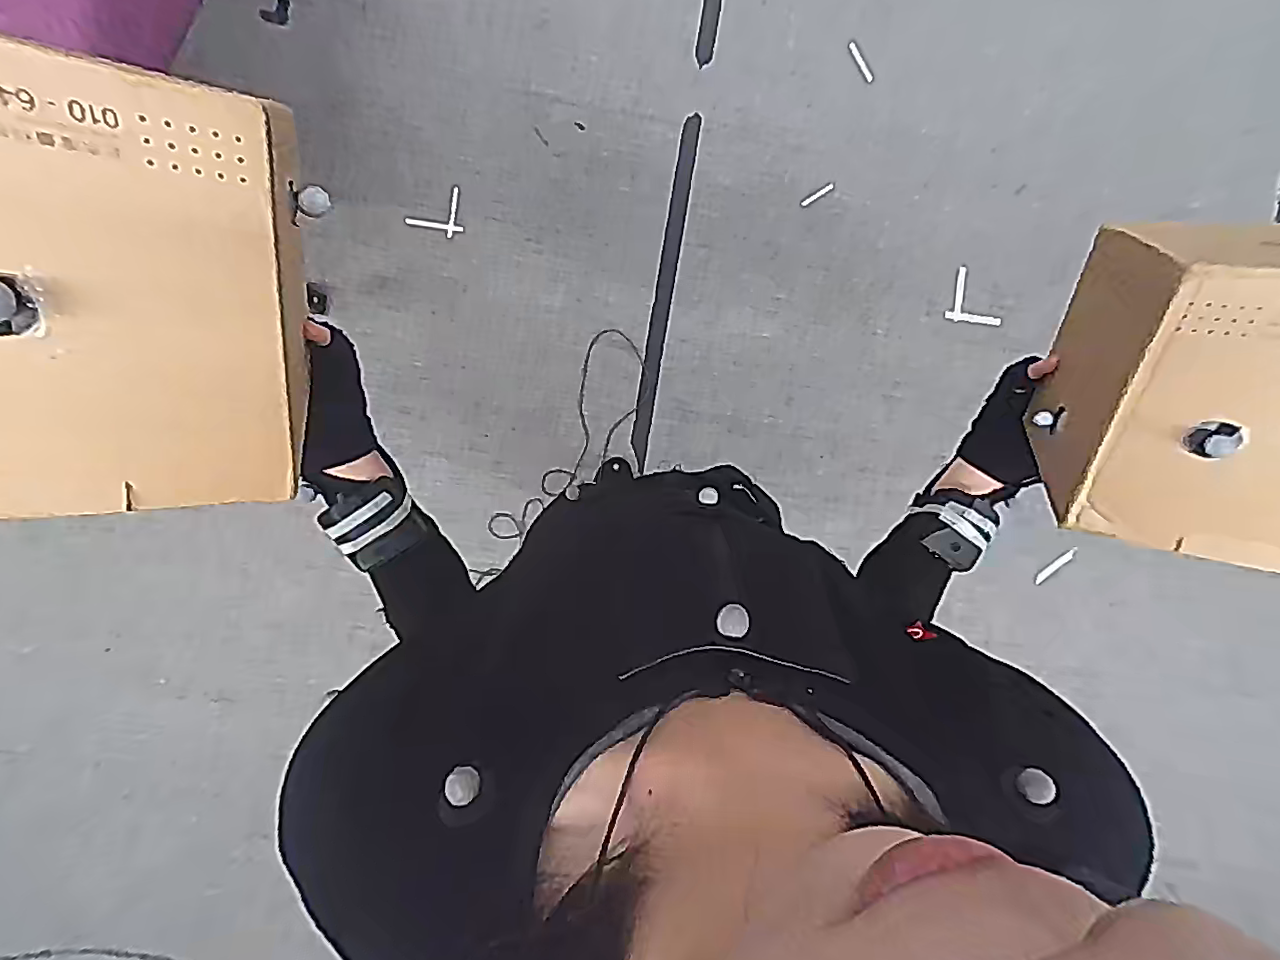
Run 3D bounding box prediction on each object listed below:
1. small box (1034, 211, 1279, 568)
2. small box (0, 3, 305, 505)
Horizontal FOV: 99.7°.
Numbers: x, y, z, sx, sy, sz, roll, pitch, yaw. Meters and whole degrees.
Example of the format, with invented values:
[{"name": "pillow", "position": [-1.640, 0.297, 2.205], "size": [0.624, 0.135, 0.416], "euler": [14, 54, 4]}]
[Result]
[{"name": "small box", "position": [0.379, -0.064, 0.330], "size": [0.168, 0.179, 0.176], "euler": [14, 125, 21]}, {"name": "small box", "position": [-0.253, -0.103, 0.238], "size": [0.168, 0.179, 0.176], "euler": [-1, 120, -28]}]
